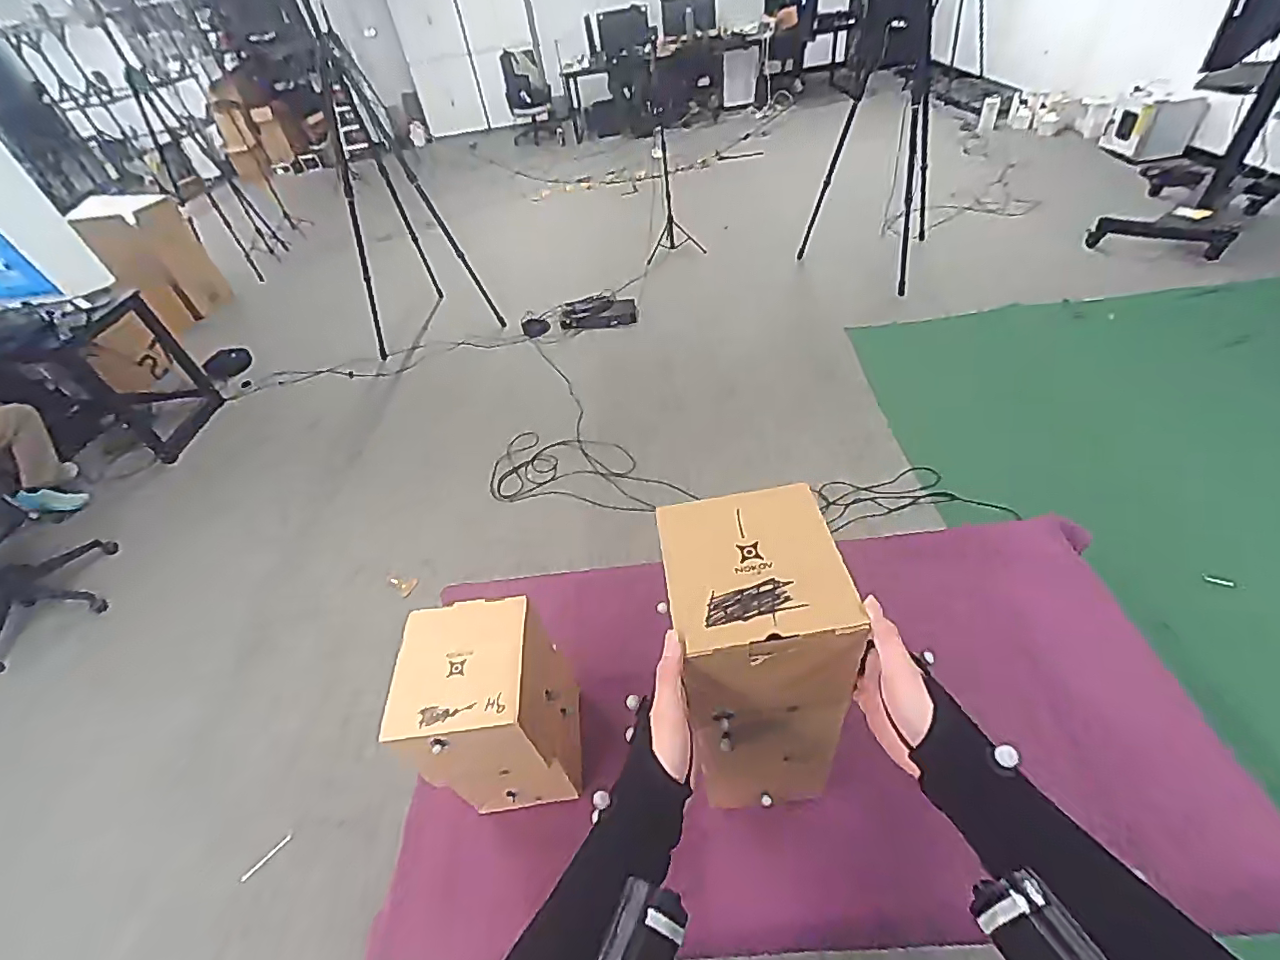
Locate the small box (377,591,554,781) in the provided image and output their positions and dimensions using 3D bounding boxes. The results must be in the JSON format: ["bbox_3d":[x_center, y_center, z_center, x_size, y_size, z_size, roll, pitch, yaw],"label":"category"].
[{"bbox_3d":[-0.217,0.278,0.729,0.168,0.176,0.179,-9,44,2],"label":"small box"}]

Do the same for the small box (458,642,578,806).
[{"bbox_3d":[-0.195,0.384,0.852,0.168,0.176,0.179,-10,44,1],"label":"small box"}]

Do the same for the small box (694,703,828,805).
[{"bbox_3d":[0.165,0.357,0.806,0.168,0.176,0.179,-9,44,4],"label":"small box"}]

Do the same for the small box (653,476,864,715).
[{"bbox_3d":[0.112,0.125,0.562,0.168,0.176,0.179,-9,43,2],"label":"small box"}]
